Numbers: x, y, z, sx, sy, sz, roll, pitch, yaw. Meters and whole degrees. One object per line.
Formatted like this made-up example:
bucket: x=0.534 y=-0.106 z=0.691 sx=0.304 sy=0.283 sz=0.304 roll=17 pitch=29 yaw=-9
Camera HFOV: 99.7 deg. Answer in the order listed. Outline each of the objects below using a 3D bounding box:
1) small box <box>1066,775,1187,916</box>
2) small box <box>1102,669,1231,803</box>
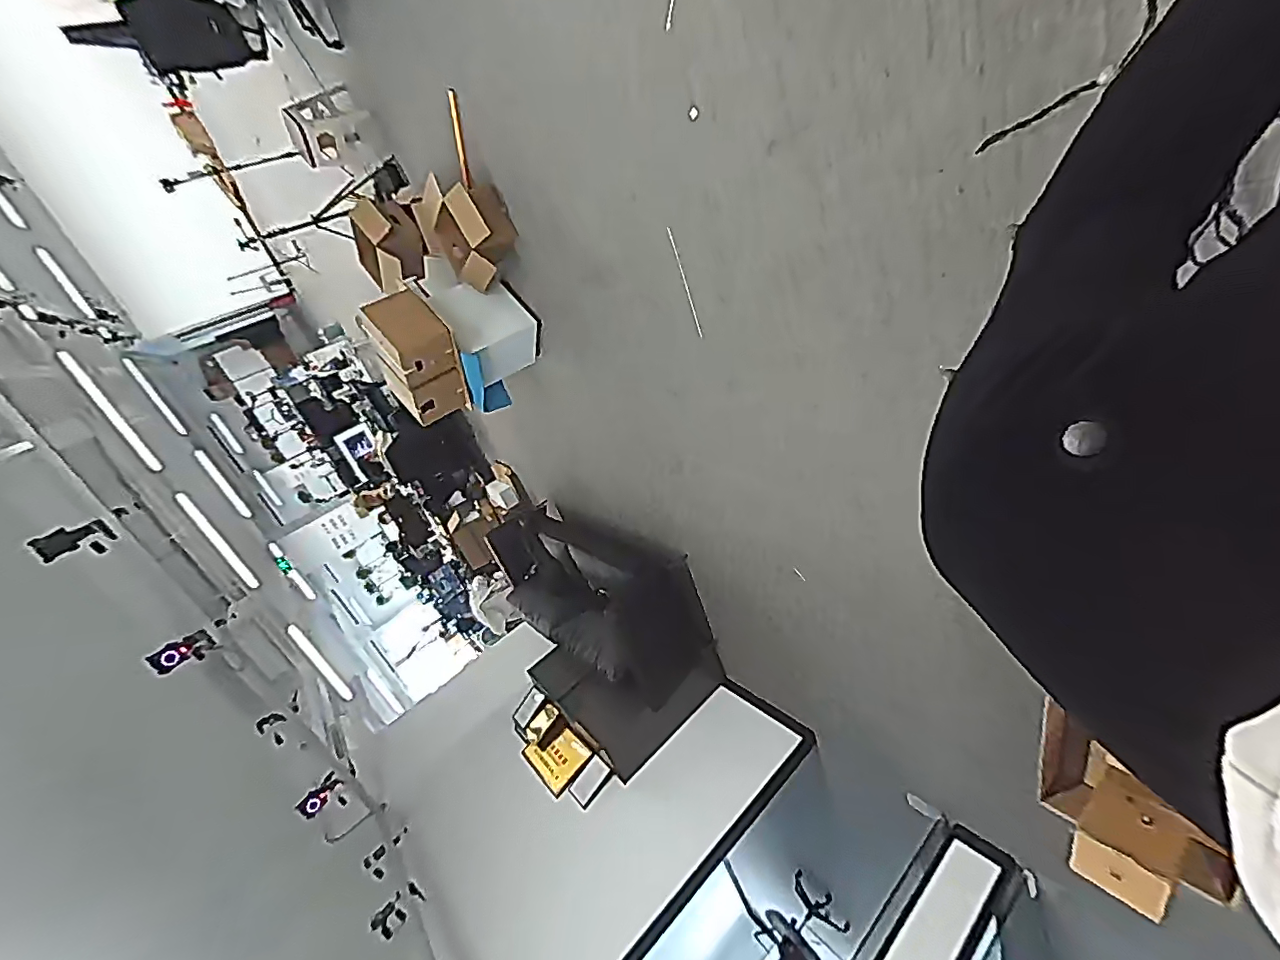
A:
small box: x=1.127 y=0.841 z=1.256 sx=0.168 sy=0.176 sz=0.179 roll=20 pitch=135 yaw=50
small box: x=1.178 y=0.564 z=1.212 sx=0.168 sy=0.176 sz=0.179 roll=21 pitch=139 yaw=49
